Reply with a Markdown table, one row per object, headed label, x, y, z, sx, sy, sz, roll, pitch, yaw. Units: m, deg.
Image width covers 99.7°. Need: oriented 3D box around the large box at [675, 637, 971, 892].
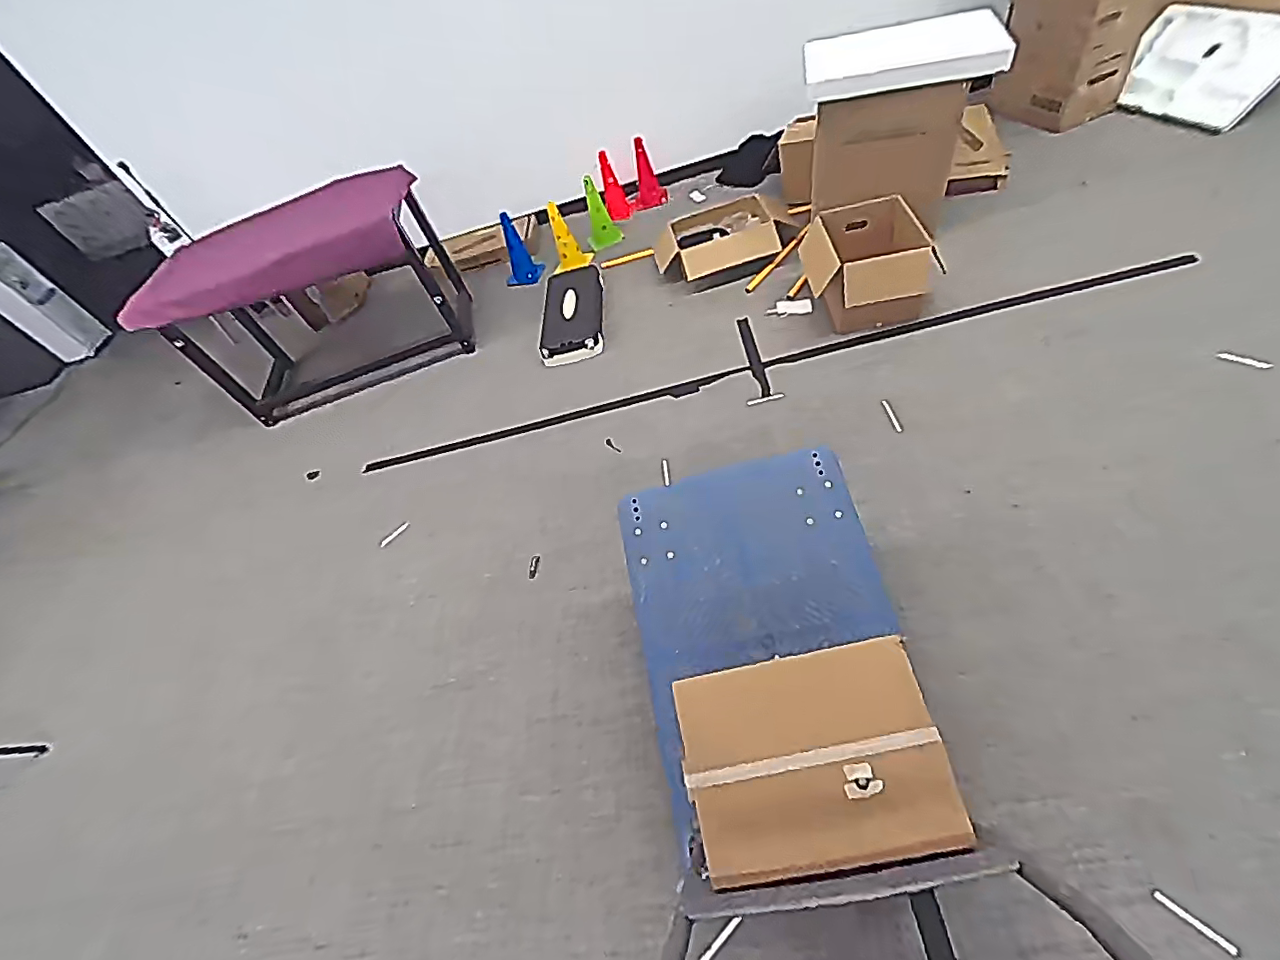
| label | x | y | z | sx | sy | sz | roll | pitch | yaw |
| --- | --- | --- | --- | --- | --- | --- | --- | --- | --- |
| large box | 0.309 | 0.517 | 1.028 | 0.408 | 0.320 | 0.320 | -15 | 67 | 5 |
